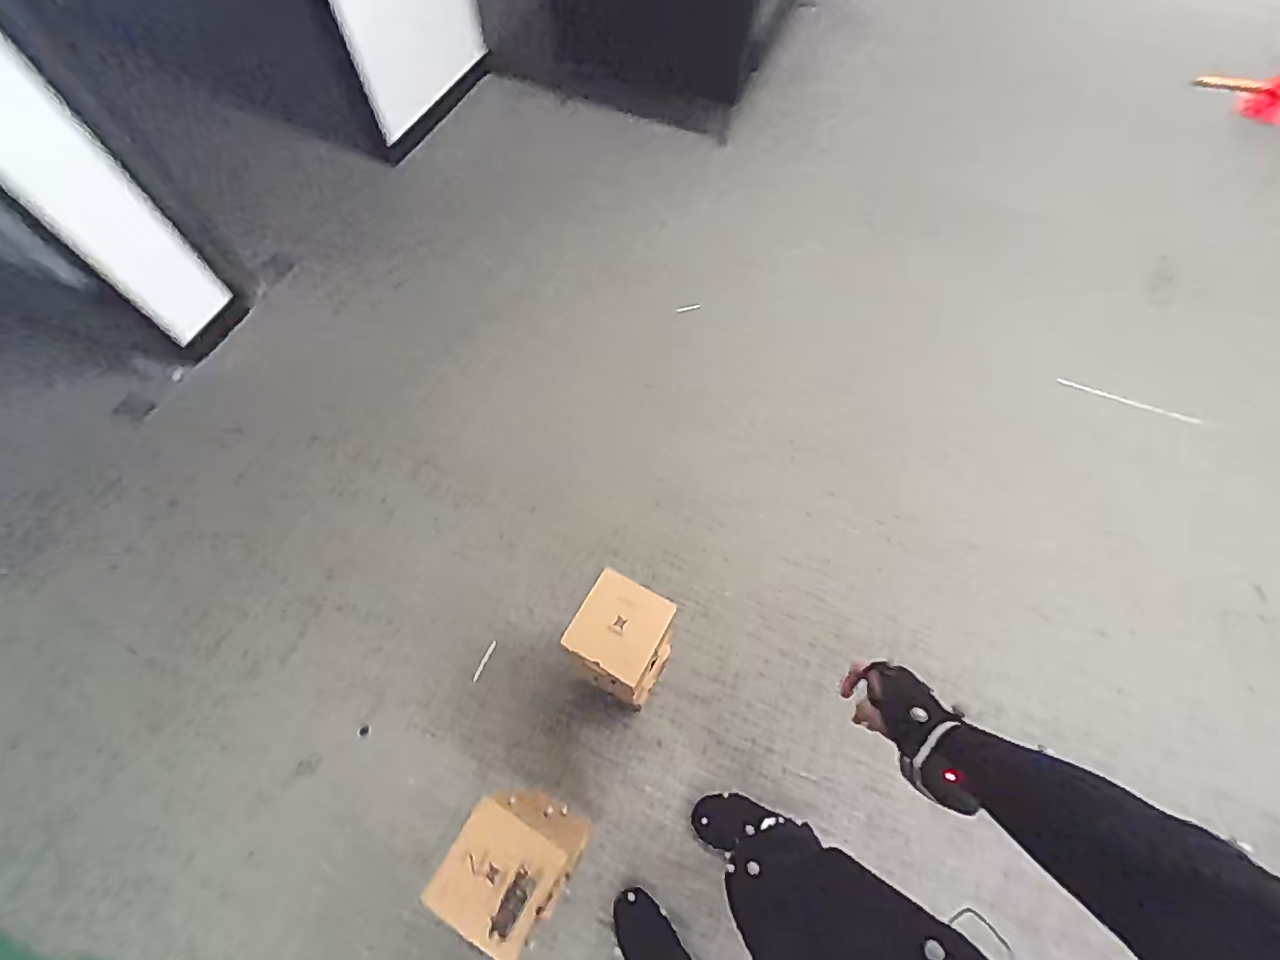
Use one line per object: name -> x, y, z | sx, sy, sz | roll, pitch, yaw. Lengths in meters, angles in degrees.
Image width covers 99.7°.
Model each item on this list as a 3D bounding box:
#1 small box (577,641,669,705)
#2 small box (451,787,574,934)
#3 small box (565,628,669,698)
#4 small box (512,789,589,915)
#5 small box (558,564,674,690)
small box -> -0.043, 0.463, 1.390 | 0.179, 0.176, 0.168 | 24, 65, 10
small box -> -0.244, 0.740, 1.075 | 0.179, 0.176, 0.168 | -27, 69, -13
small box -> -0.050, 0.385, 1.246 | 0.179, 0.176, 0.168 | 28, 67, 13
small box -> -0.228, 0.816, 1.210 | 0.179, 0.176, 0.168 | 26, 65, 13
small box -> -0.044, 0.306, 1.103 | 0.168, 0.176, 0.179 | 28, 66, 12
